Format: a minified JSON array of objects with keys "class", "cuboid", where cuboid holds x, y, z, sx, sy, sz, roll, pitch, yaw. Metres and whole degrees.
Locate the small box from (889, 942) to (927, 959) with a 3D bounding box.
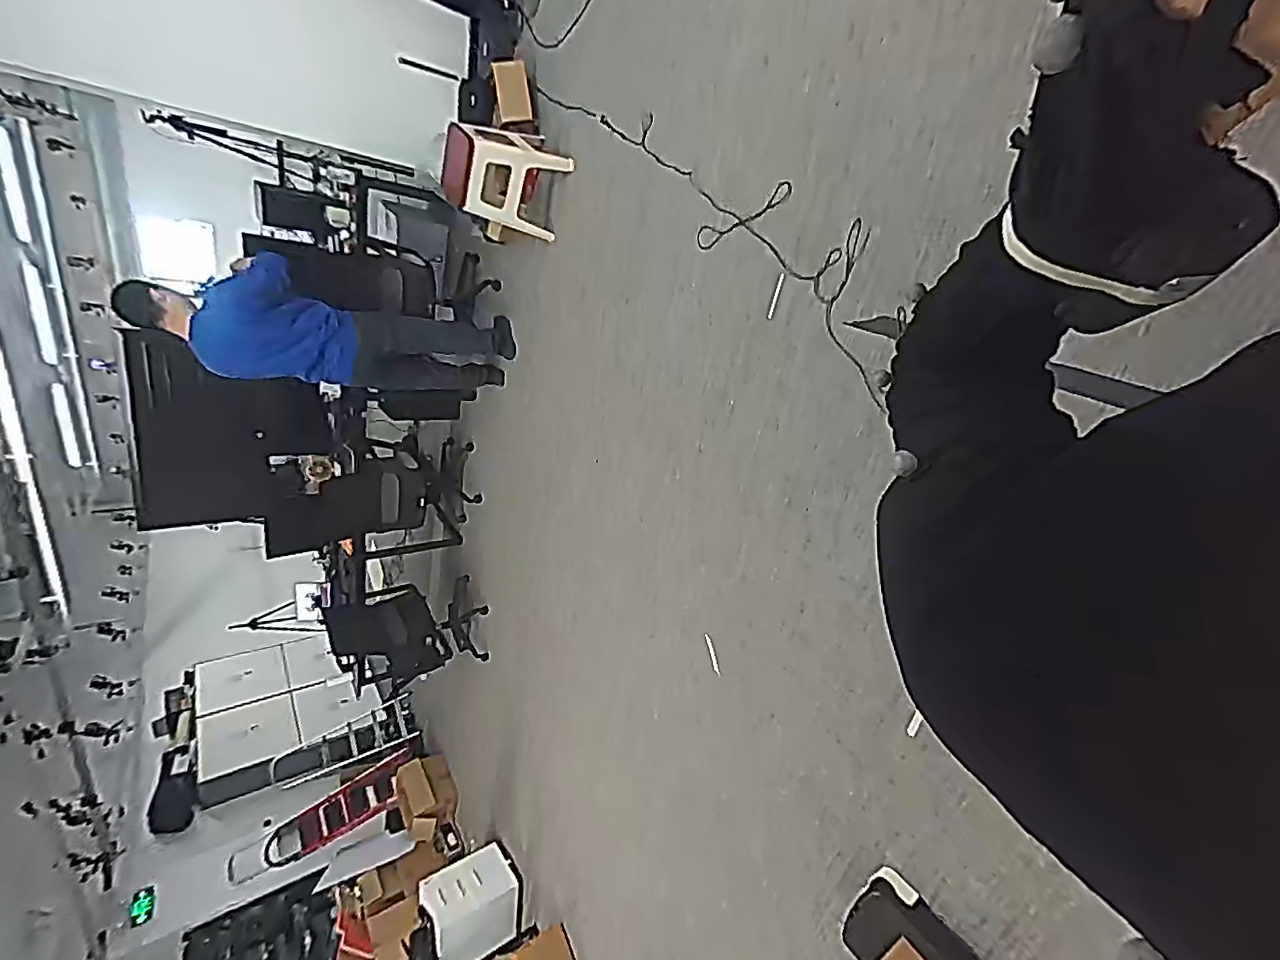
[{"class":"small box","cuboid":[0.692,1.357,1.394,0.168,0.176,0.179,41,126,41]}]
